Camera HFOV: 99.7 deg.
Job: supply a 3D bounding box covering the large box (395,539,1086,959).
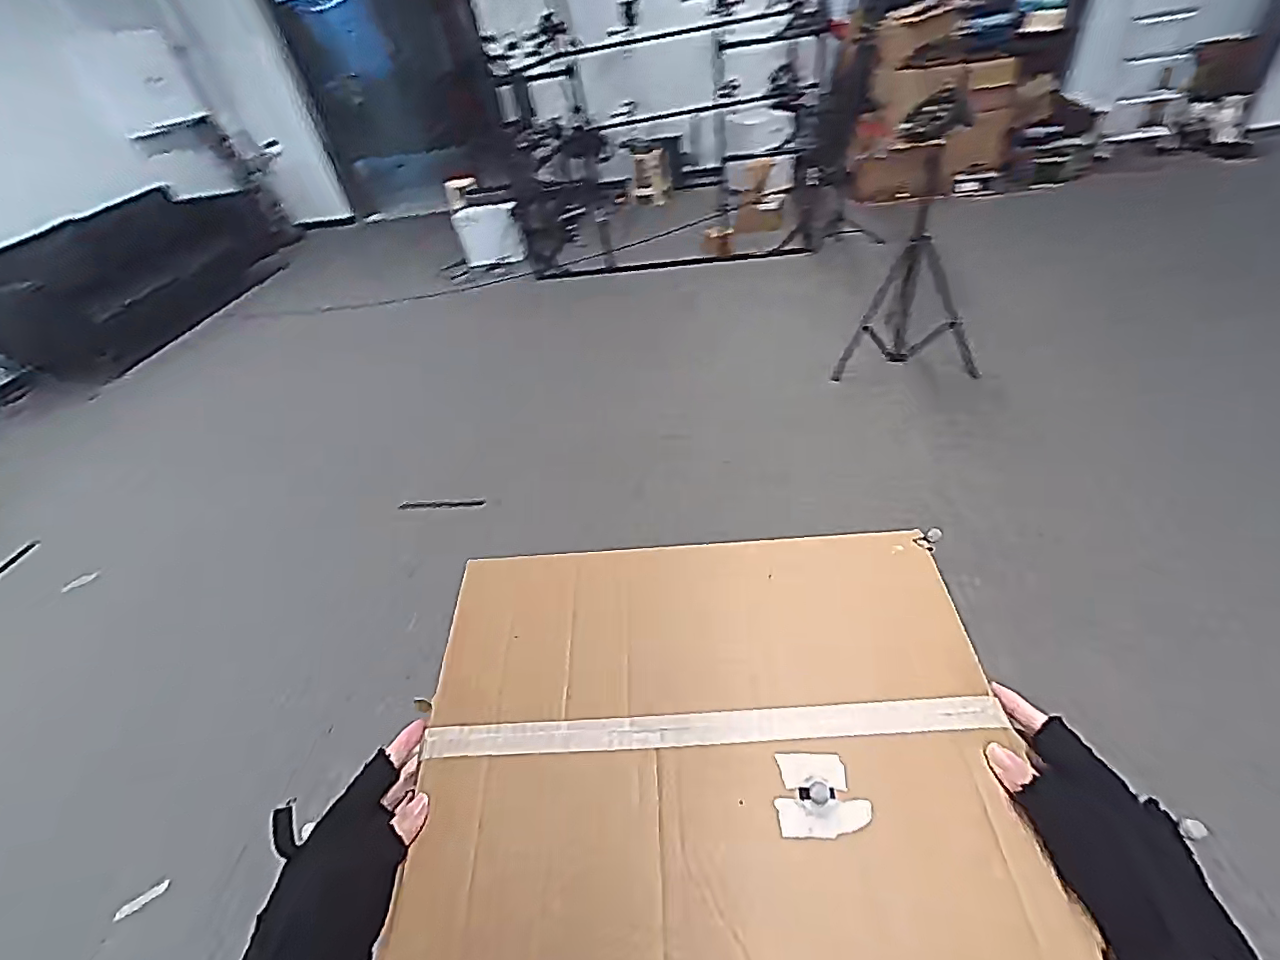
[{"bbox_3d":[0.054,0.283,0.506,0.408,0.320,0.320,-4,49,2],"label":"large box"}]
